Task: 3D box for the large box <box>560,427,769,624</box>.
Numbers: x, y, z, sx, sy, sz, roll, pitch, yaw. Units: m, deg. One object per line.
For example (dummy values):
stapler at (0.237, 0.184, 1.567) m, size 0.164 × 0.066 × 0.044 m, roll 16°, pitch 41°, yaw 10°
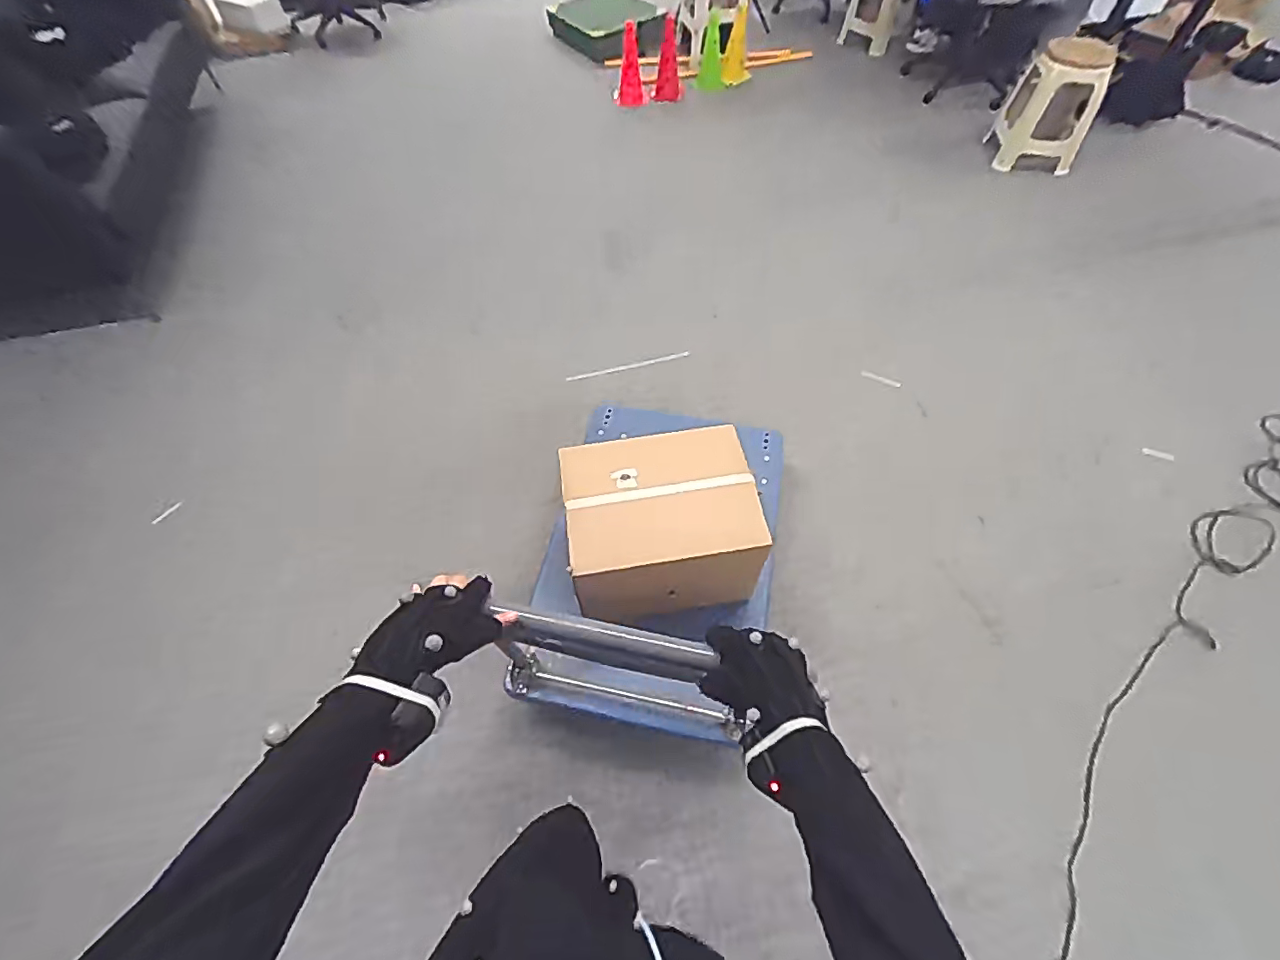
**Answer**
large box at (0.047, 0.117, 1.280) m, size 0.408 × 0.320 × 0.320 m, roll -10°, pitch 57°, yaw -4°
